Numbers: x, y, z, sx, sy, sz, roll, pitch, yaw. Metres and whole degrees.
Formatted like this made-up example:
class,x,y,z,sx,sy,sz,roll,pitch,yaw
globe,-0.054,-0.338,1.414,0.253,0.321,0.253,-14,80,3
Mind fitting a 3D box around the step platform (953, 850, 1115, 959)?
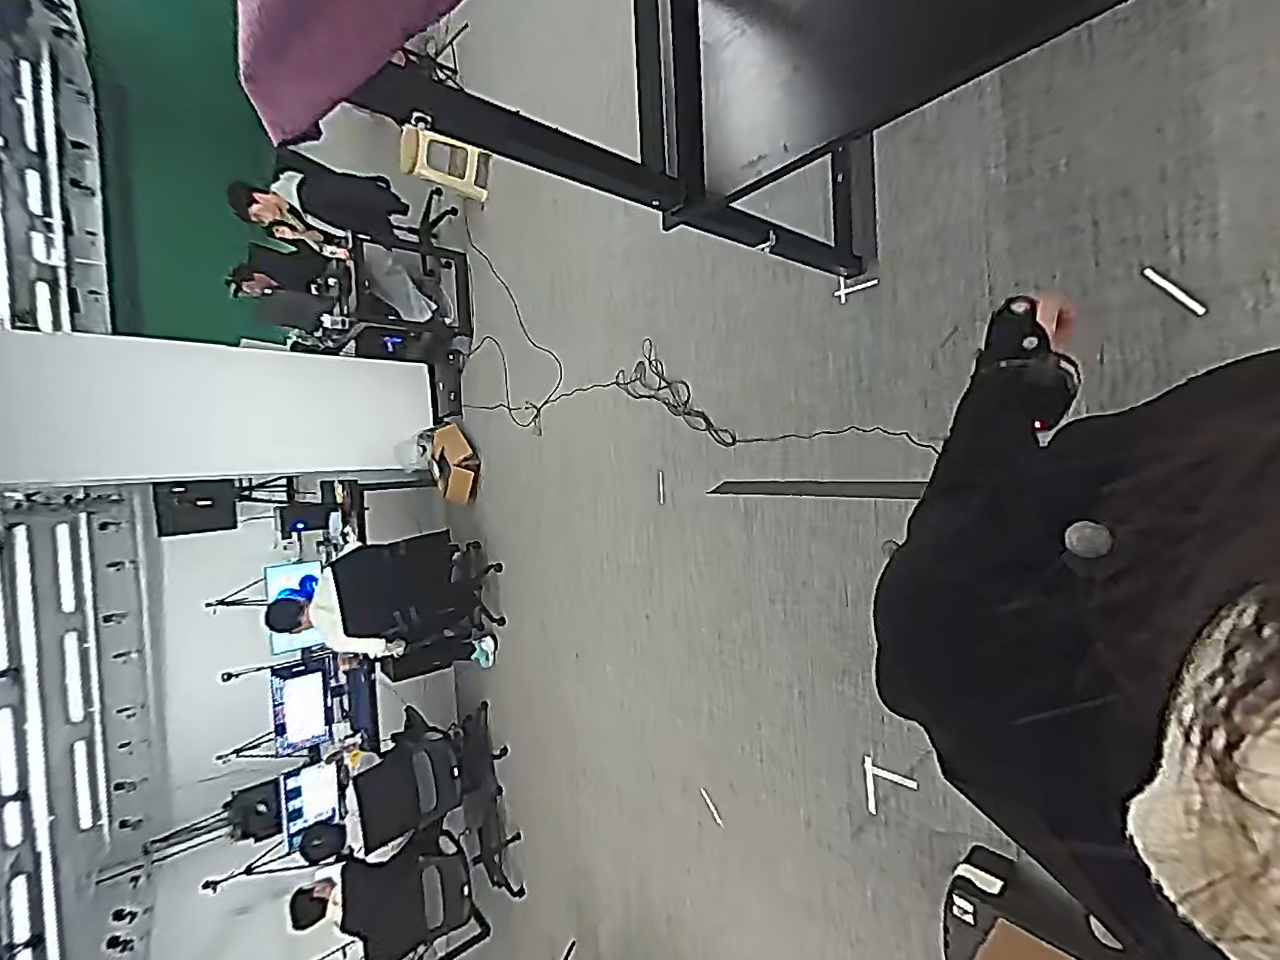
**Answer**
class,x,y,z,sx,sy,sz,roll,pitch,yaw
step platform,1.032,1.118,1.105,0.684,0.204,0.286,9,100,49
